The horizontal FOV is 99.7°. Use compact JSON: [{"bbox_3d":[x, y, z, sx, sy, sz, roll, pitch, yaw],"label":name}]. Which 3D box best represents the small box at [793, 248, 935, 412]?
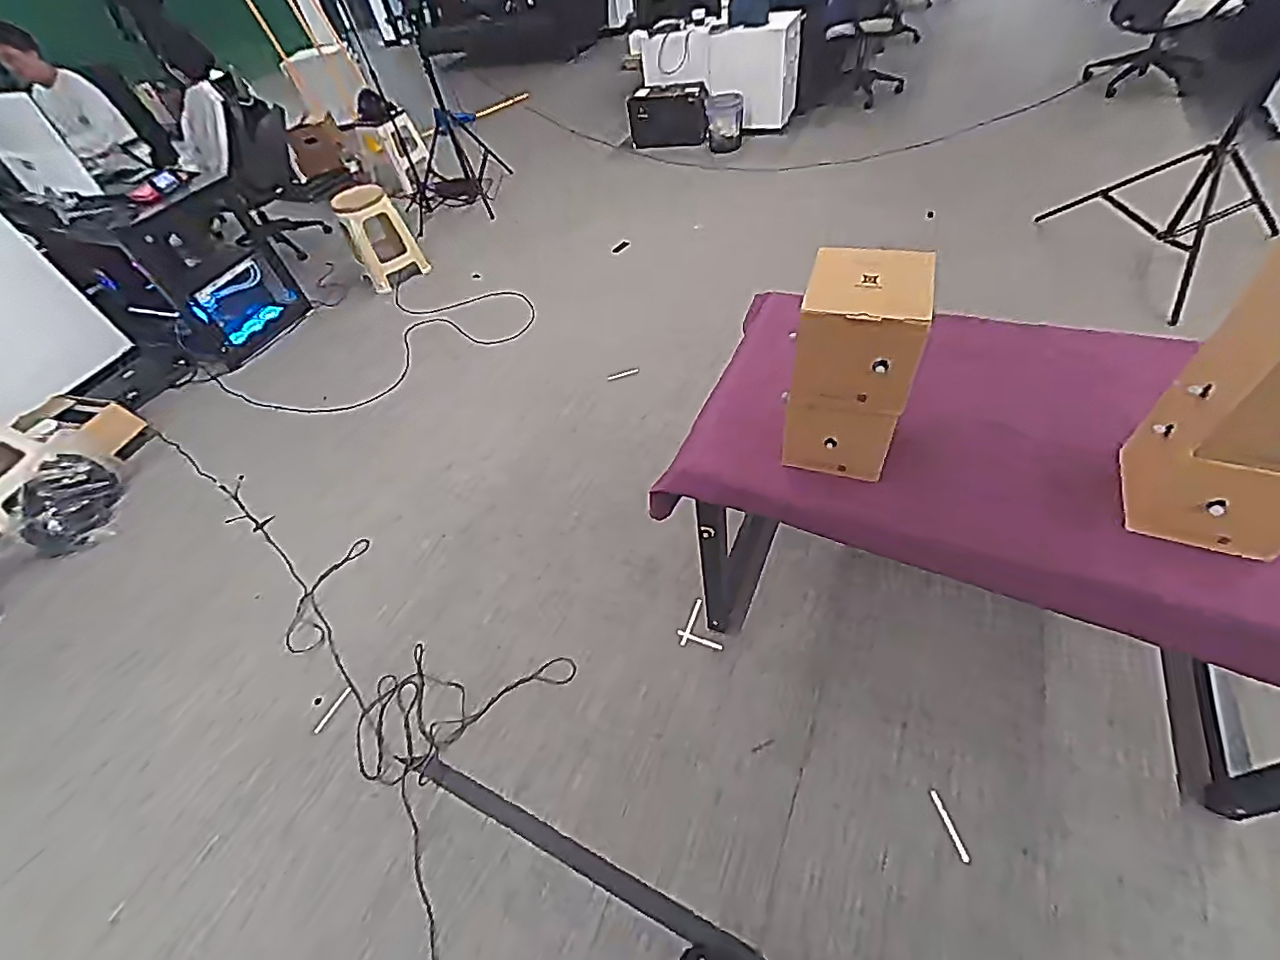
[{"bbox_3d":[0.332,-0.225,0.817,0.168,0.176,0.179,11,52,17],"label":"small box"}]

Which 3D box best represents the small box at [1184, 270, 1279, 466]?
[{"bbox_3d":[0.810,-0.124,0.649,0.168,0.176,0.179,16,55,23],"label":"small box"}]

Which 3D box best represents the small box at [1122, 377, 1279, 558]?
[{"bbox_3d":[0.830,-0.016,0.770,0.168,0.176,0.179,15,54,22],"label":"small box"}]

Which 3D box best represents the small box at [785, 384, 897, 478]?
[{"bbox_3d":[0.354,-0.128,0.945,0.168,0.176,0.179,13,53,19],"label":"small box"}]
